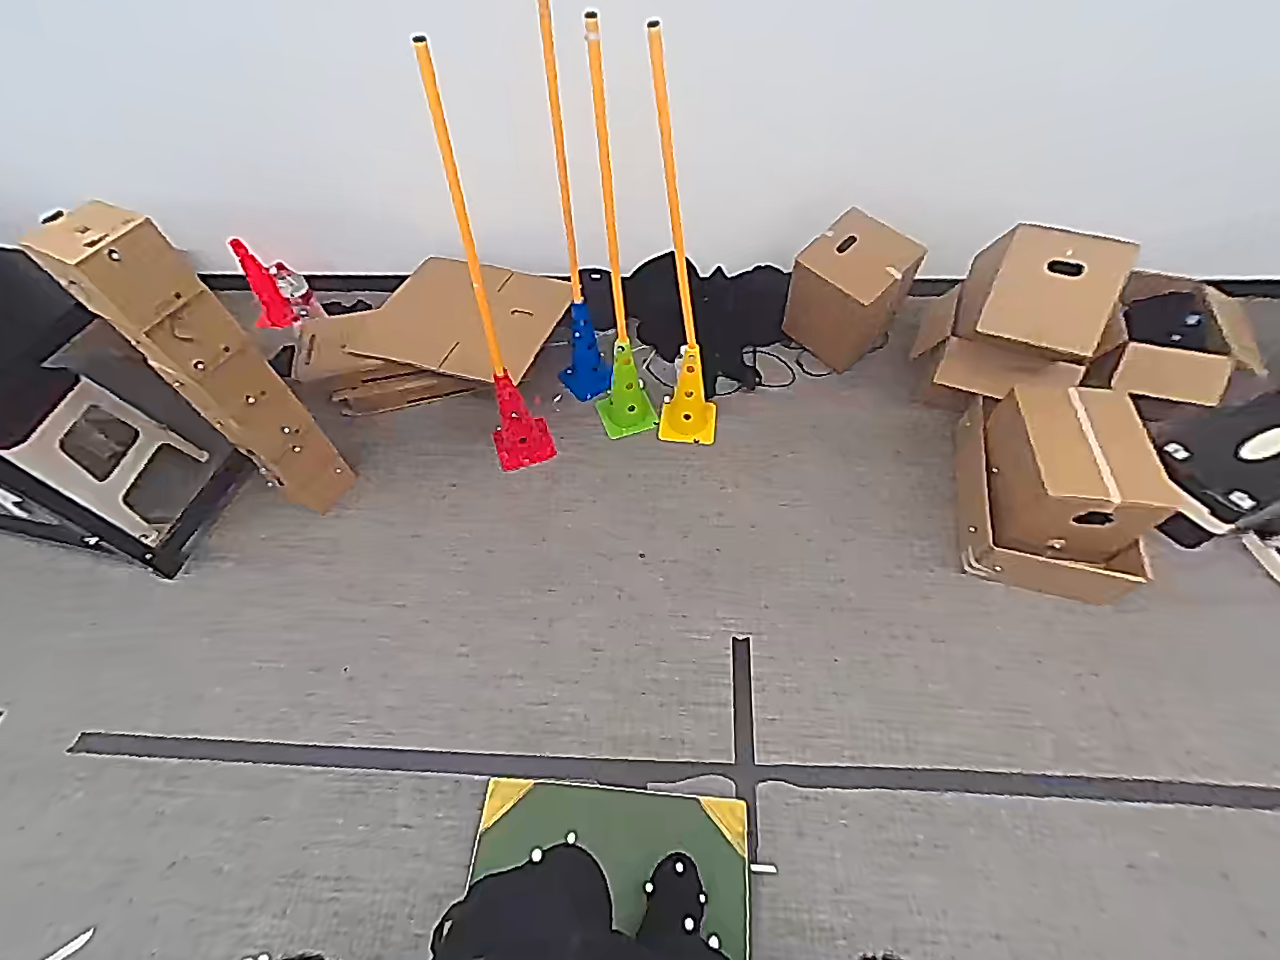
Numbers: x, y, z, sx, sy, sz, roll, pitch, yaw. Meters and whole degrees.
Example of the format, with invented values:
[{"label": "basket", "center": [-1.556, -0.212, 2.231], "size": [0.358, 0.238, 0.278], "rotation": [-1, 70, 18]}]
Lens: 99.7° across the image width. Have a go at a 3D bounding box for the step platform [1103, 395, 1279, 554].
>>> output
[{"label": "step platform", "center": [1.878, -0.029, 1.727], "size": [0.684, 0.204, 0.286], "rotation": [-22, 58, -13]}]
